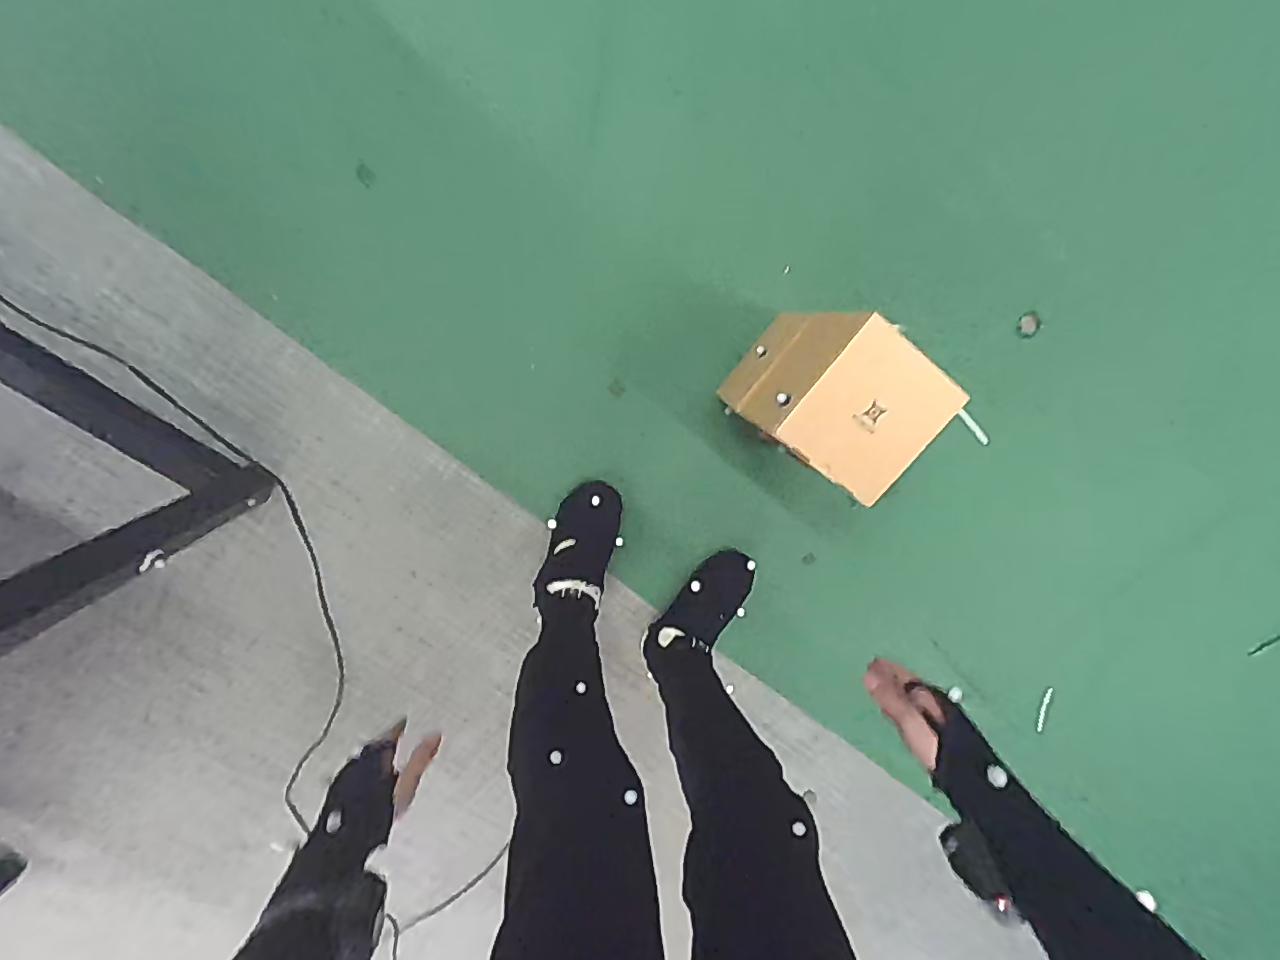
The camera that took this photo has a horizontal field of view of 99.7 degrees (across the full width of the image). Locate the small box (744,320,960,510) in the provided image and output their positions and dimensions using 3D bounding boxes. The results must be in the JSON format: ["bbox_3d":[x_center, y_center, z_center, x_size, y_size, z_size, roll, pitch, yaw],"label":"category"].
[{"bbox_3d":[0.264,-0.097,0.720,0.168,0.176,0.179,35,103,-14],"label":"small box"}]

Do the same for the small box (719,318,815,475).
[{"bbox_3d":[0.246,-0.141,0.875,0.168,0.176,0.179,37,101,-14],"label":"small box"}]
